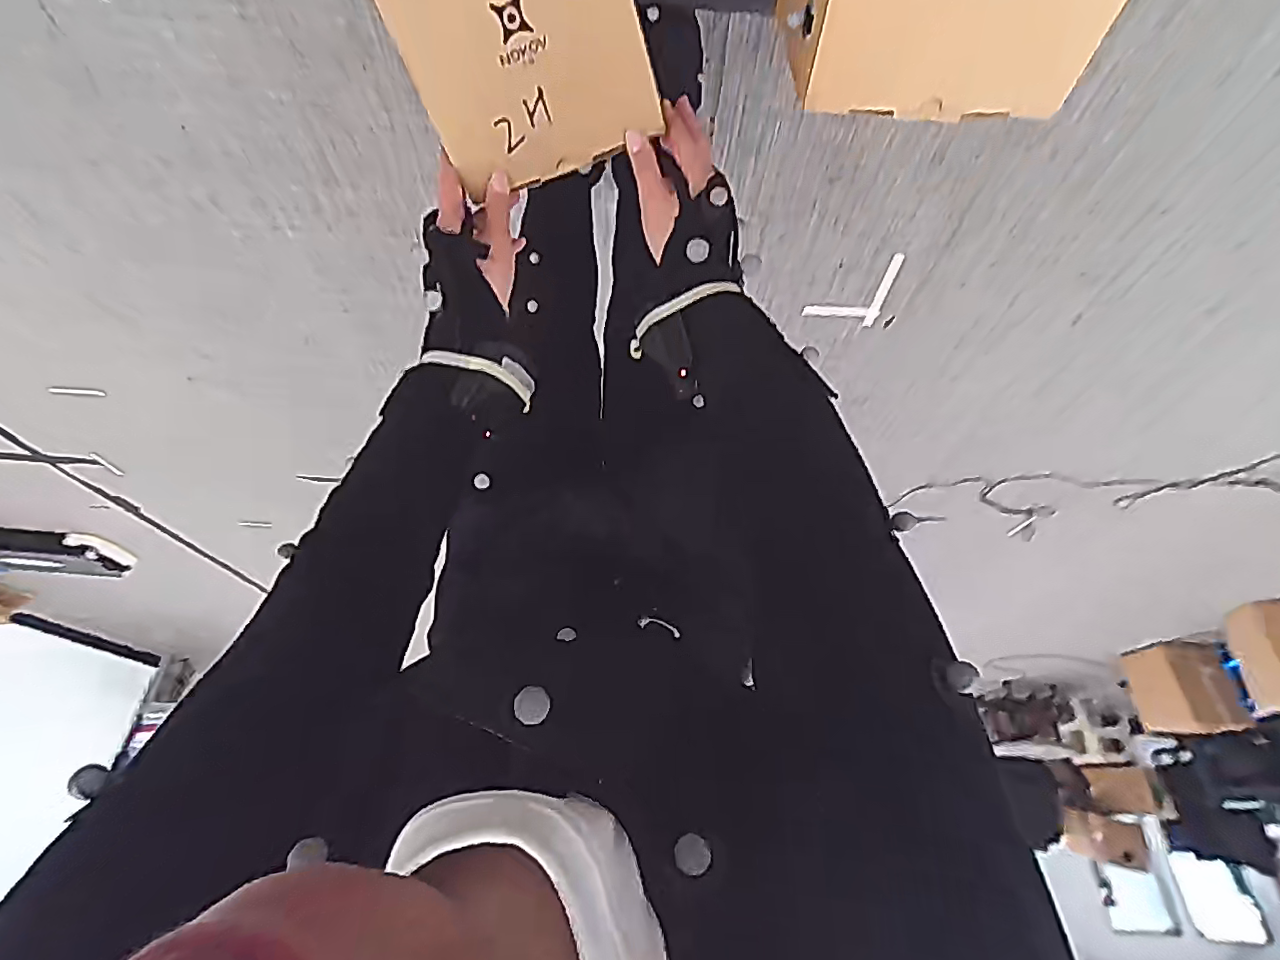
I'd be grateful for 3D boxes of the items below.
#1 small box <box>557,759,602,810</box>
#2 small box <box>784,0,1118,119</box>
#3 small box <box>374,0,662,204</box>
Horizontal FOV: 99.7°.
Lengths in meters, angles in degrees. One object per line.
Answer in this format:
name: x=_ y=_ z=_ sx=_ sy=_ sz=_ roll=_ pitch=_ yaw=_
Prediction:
small box: x=-0.243 y=1.238 z=2.195 sx=0.168 sy=0.176 sz=0.179 roll=4 pitch=148 yaw=-3
small box: x=0.190 y=-0.355 z=0.326 sx=0.168 sy=0.176 sz=0.179 roll=2 pitch=149 yaw=0
small box: x=-0.087 y=-0.352 z=0.435 sx=0.168 sy=0.176 sz=0.179 roll=-15 pitch=126 yaw=11
